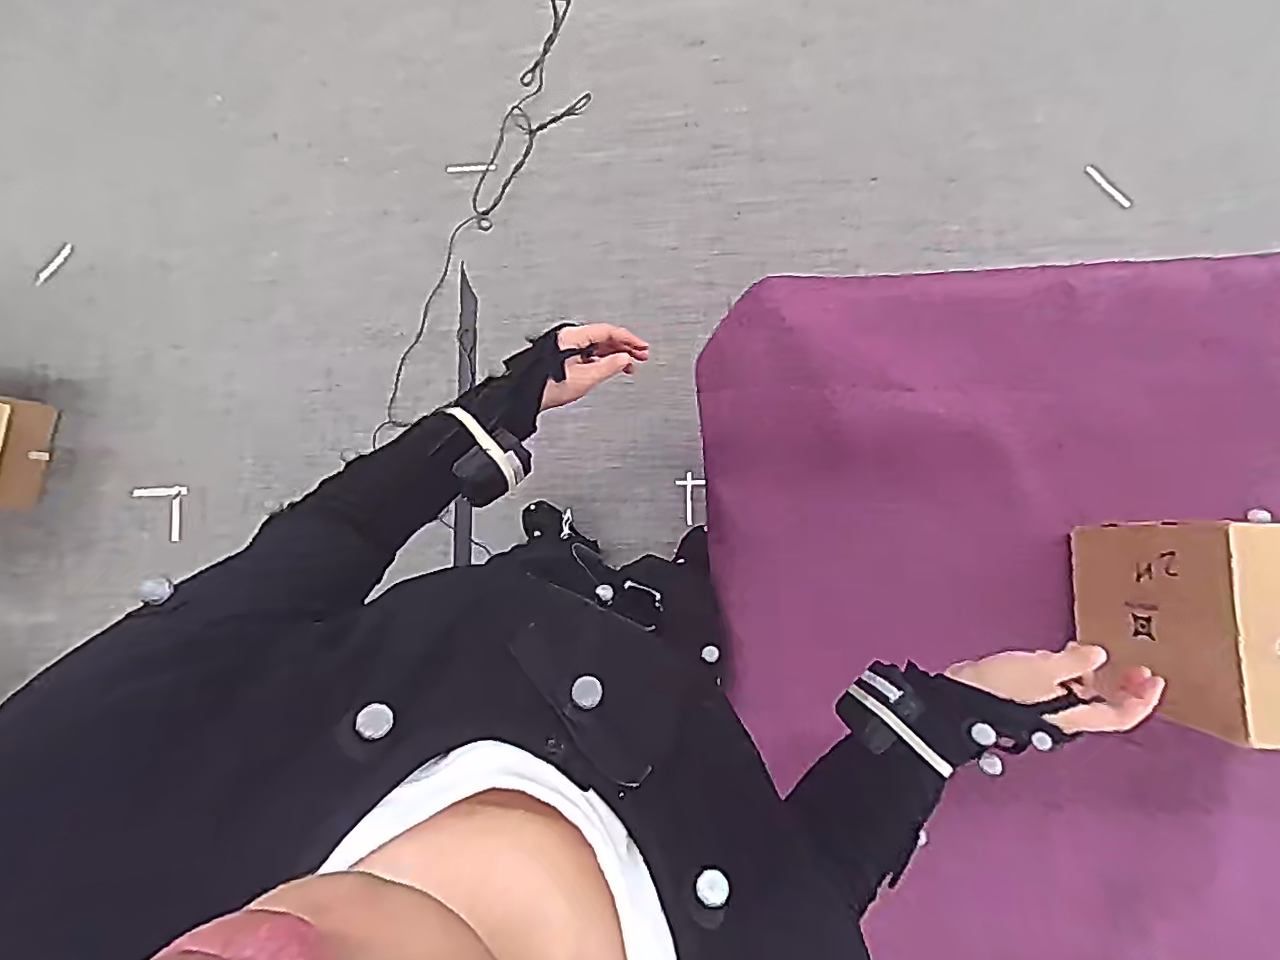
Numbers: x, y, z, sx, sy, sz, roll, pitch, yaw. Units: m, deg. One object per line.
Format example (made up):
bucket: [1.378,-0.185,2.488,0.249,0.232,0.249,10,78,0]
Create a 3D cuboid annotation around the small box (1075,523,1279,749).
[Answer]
small box: [0.549,0.130,0.494,0.176,0.168,0.179,2,83,2]
